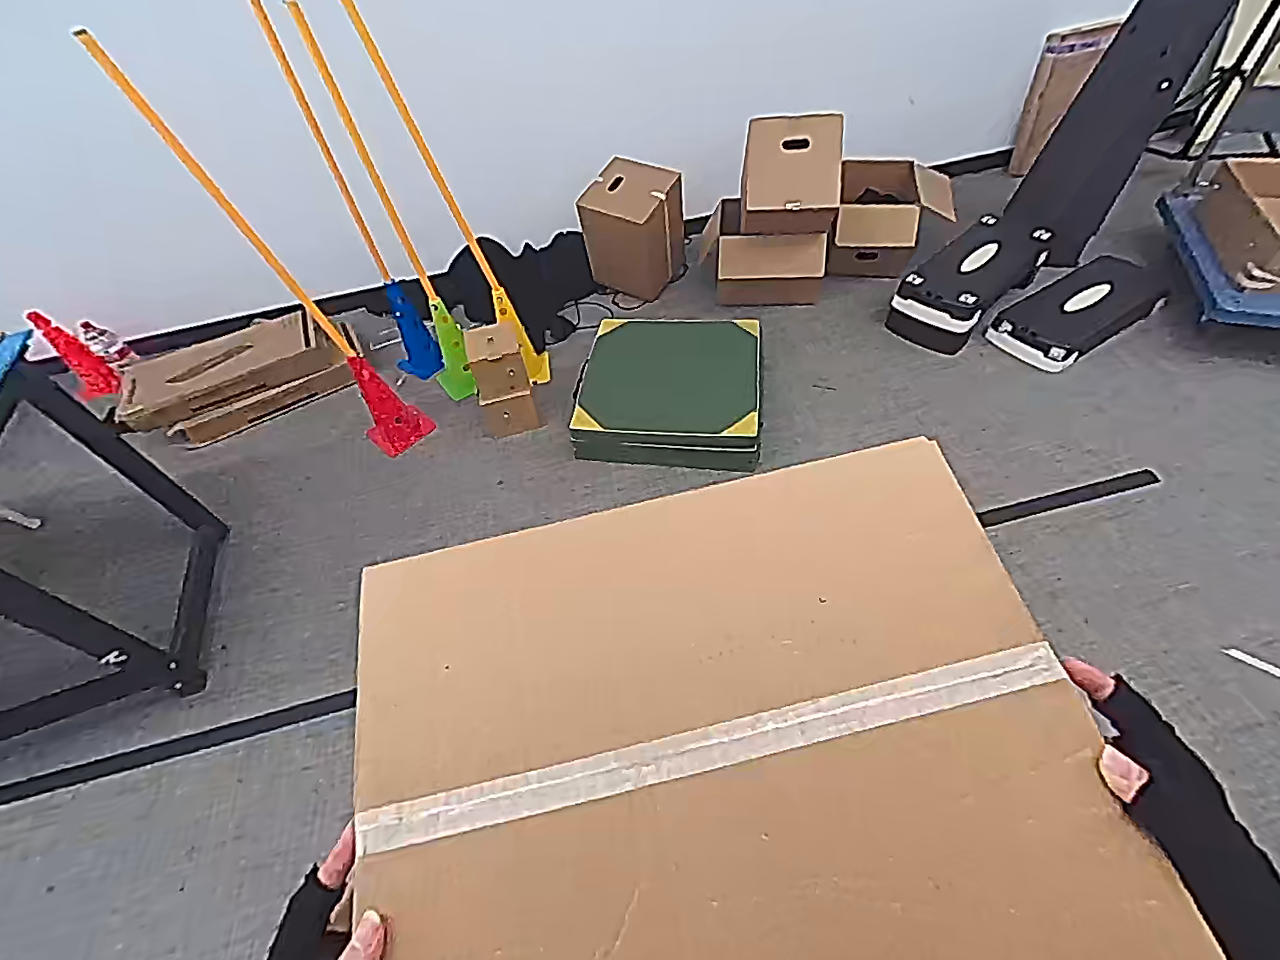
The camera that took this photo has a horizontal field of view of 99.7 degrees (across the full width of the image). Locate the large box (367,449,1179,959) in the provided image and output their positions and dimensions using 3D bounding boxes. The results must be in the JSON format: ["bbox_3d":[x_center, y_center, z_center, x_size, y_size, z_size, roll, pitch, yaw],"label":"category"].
[{"bbox_3d":[0.051,0.219,0.451,0.408,0.320,0.320,-13,62,-1],"label":"large box"}]
